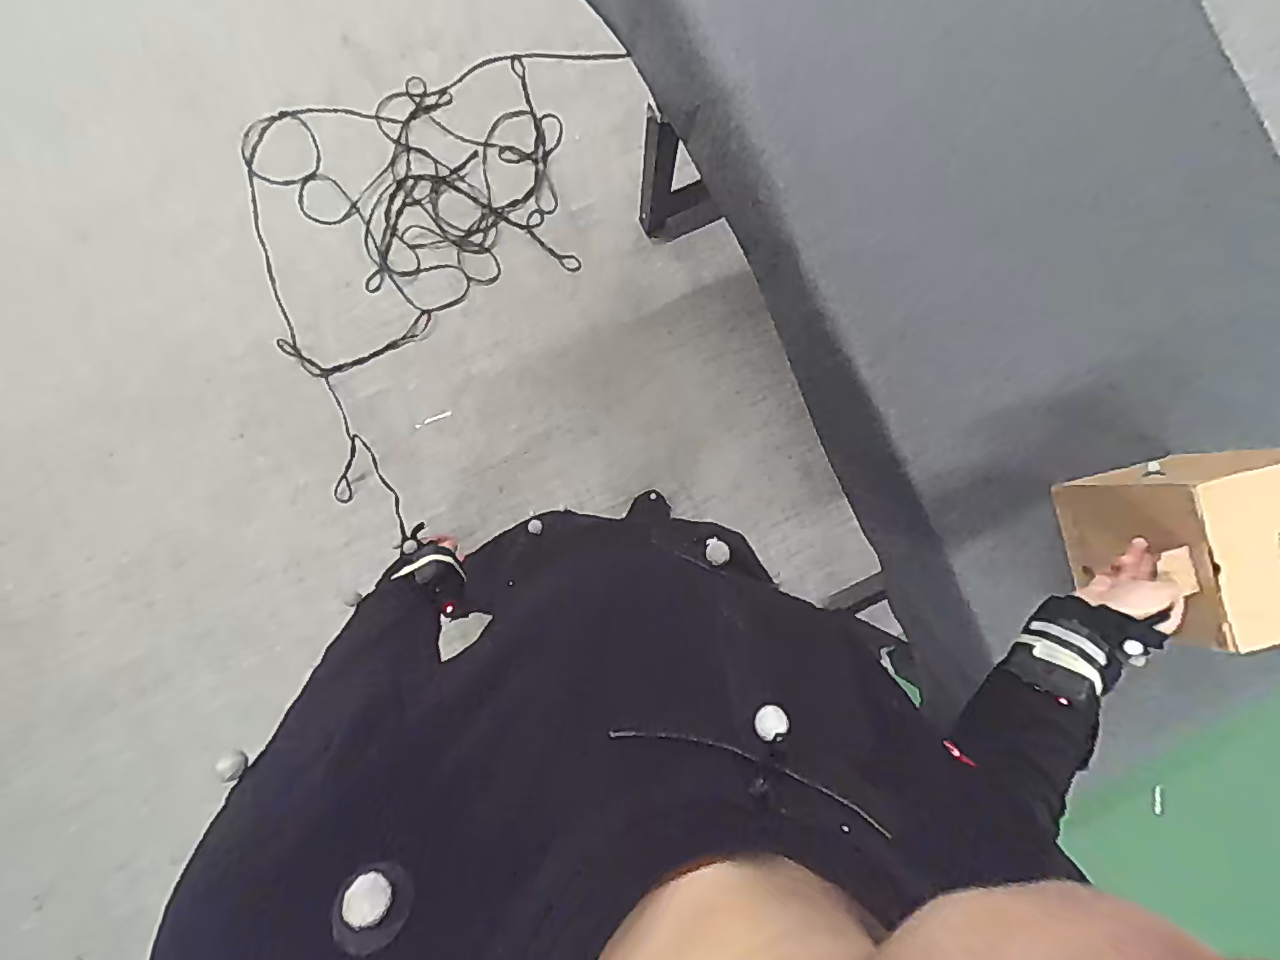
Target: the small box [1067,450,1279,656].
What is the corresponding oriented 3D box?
[{"bbox_3d":[0.607,0.067,0.580,0.179,0.176,0.168,-14,90,-4],"label":"small box"}]
